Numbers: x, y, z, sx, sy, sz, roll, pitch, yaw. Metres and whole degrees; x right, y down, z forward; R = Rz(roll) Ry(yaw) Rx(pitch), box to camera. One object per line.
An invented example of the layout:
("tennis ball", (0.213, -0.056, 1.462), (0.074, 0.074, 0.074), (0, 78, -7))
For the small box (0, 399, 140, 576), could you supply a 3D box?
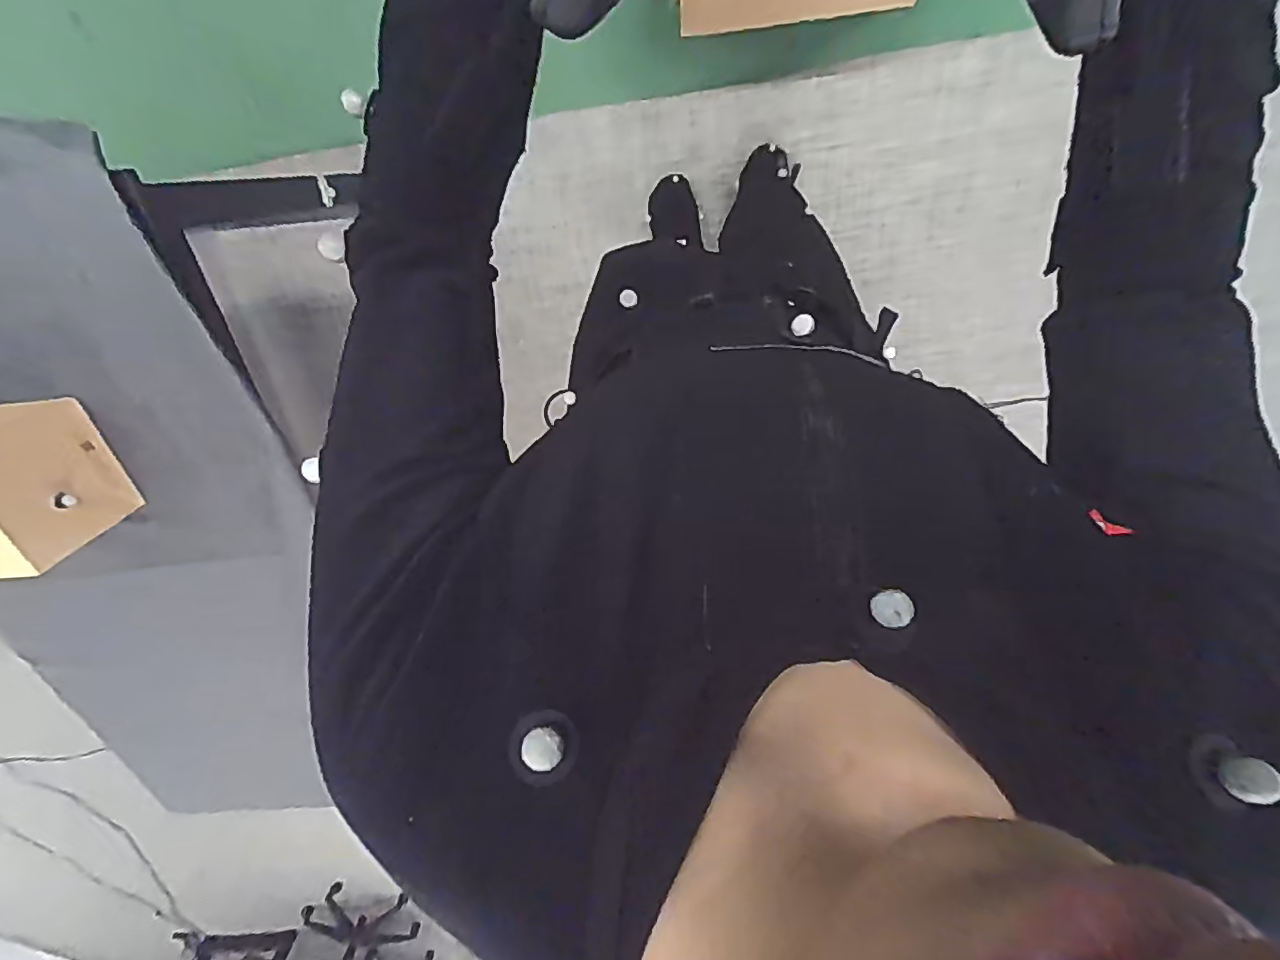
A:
("small box", (-0.803, 0.006, 0.687), (0.179, 0.176, 0.168), (-4, 121, 5))
